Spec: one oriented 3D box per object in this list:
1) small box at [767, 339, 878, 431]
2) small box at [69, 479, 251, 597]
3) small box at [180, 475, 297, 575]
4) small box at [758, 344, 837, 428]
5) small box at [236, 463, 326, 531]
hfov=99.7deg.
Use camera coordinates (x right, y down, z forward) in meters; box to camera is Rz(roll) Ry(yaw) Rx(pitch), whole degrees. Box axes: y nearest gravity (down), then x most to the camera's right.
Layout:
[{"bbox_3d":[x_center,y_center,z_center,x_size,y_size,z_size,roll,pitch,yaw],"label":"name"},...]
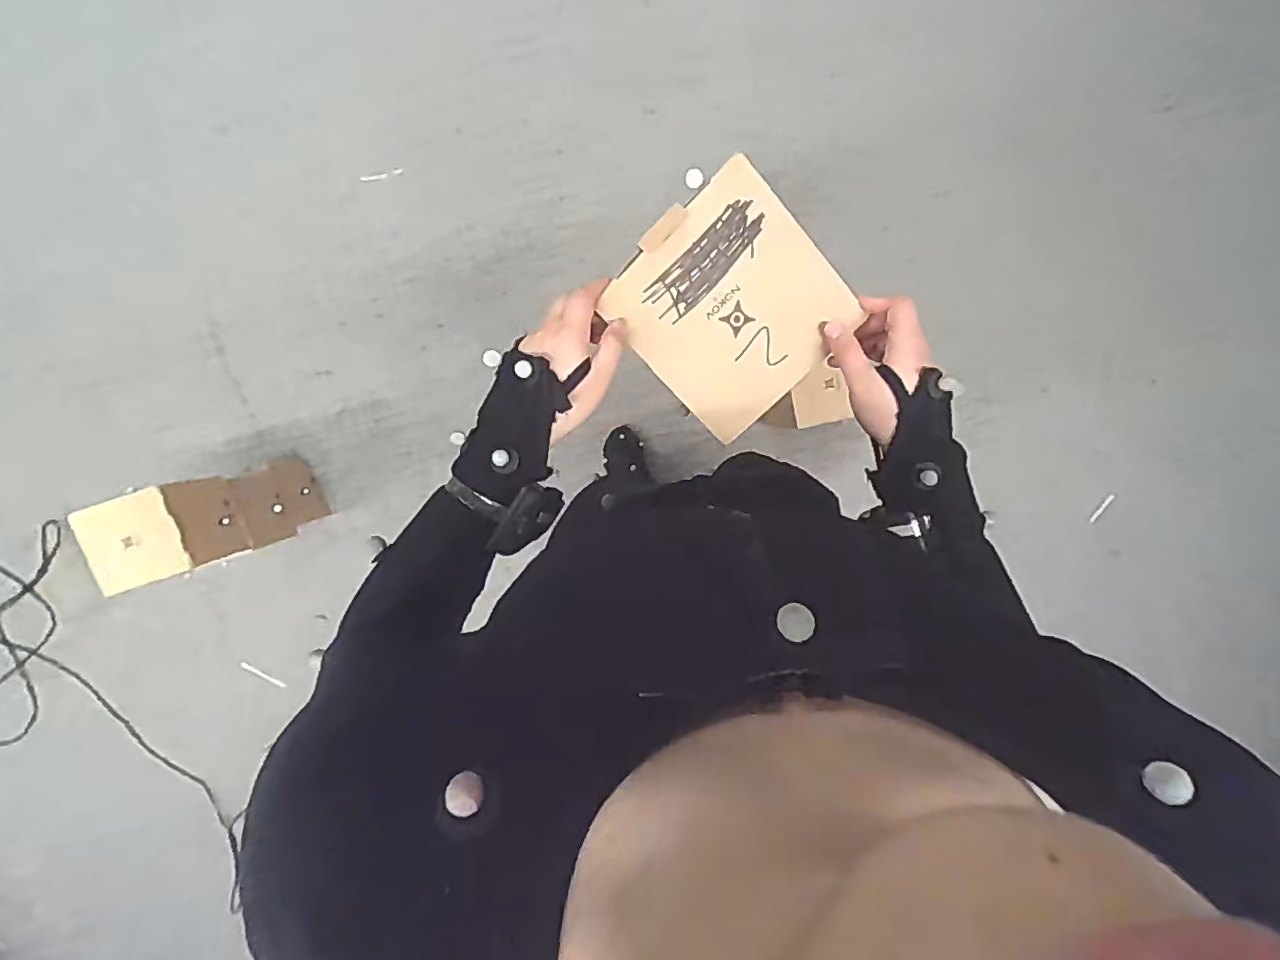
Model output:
[{"bbox_3d":[0.403,-0.207,1.216,0.179,0.176,0.168,-12,95,1],"label":"small box"},{"bbox_3d":[-0.925,0.106,1.060,0.179,0.176,0.168,-19,96,0],"label":"small box"},{"bbox_3d":[-0.931,0.095,1.222,0.179,0.176,0.168,-18,97,0],"label":"small box"},{"bbox_3d":[0.409,-0.233,1.377,0.168,0.176,0.179,-12,96,1],"label":"small box"},{"bbox_3d":[-0.942,0.062,1.383,0.179,0.176,0.168,-21,95,2],"label":"small box"}]
